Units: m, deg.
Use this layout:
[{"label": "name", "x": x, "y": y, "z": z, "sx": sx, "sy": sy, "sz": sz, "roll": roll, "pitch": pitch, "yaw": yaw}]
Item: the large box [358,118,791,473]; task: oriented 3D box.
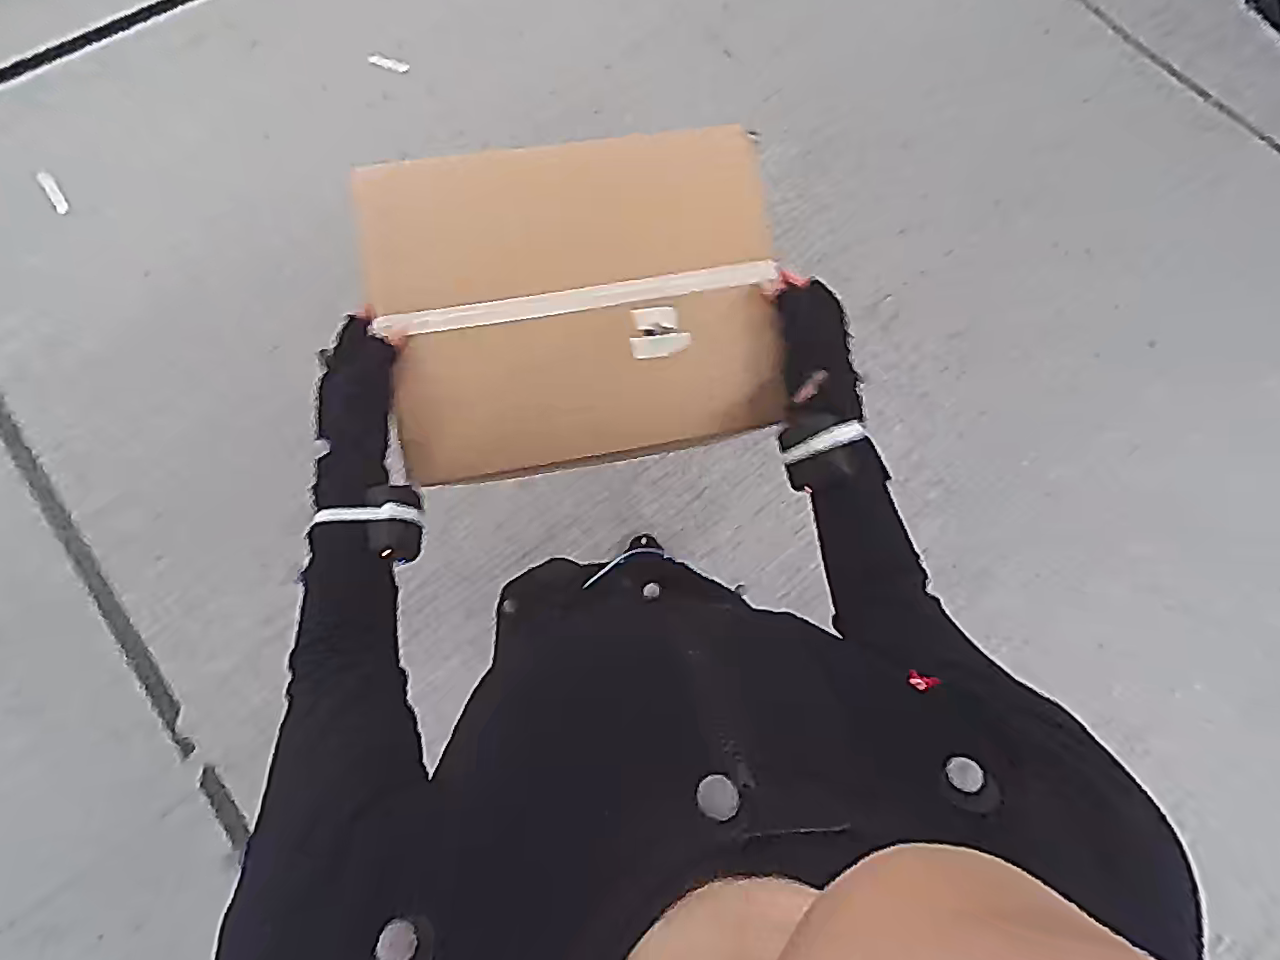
[{"label": "large box", "x": -0.076, "y": -0.197, "z": 0.702, "sx": 0.408, "sy": 0.320, "sz": 0.320, "roll": -11, "pitch": 93, "yaw": -7}]
